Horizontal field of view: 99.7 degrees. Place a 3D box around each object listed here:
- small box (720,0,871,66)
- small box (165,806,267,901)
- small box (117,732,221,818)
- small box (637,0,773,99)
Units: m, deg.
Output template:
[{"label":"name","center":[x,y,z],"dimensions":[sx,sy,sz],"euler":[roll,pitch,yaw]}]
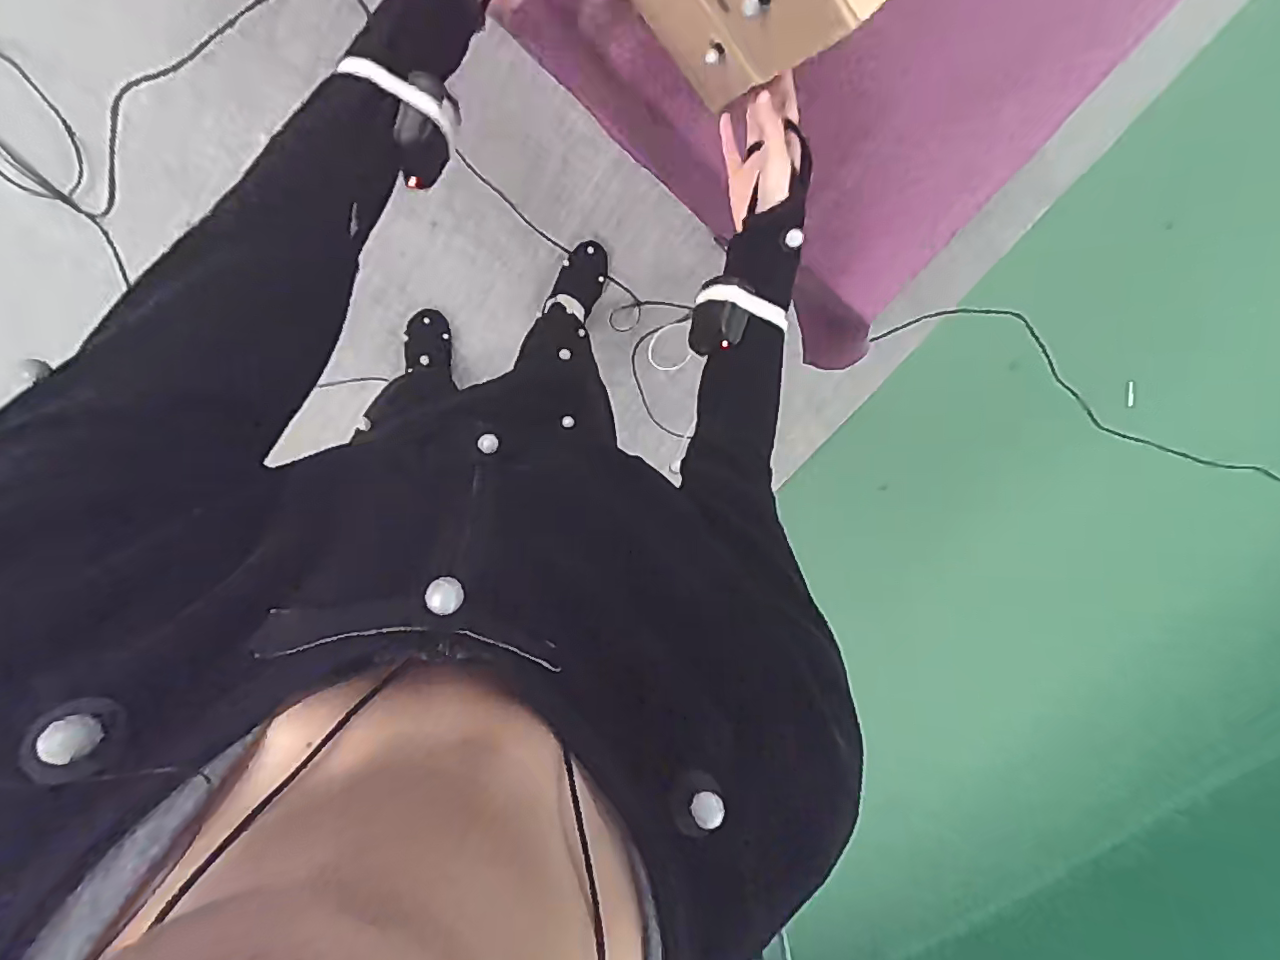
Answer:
[{"label":"small box","center":[0.117,-0.394,0.316],"dimensions":[0.179,0.176,0.168],"euler":[-42,116,13]},{"label":"small box","center":[-1.335,1.181,1.716],"dimensions":[0.168,0.176,0.179],"euler":[38,106,-23]},{"label":"small box","center":[-1.528,0.959,1.767],"dimensions":[0.179,0.176,0.168],"euler":[33,107,-23]},{"label":"small box","center":[0.089,-0.469,0.459],"dimensions":[0.168,0.176,0.179],"euler":[-43,114,14]}]
